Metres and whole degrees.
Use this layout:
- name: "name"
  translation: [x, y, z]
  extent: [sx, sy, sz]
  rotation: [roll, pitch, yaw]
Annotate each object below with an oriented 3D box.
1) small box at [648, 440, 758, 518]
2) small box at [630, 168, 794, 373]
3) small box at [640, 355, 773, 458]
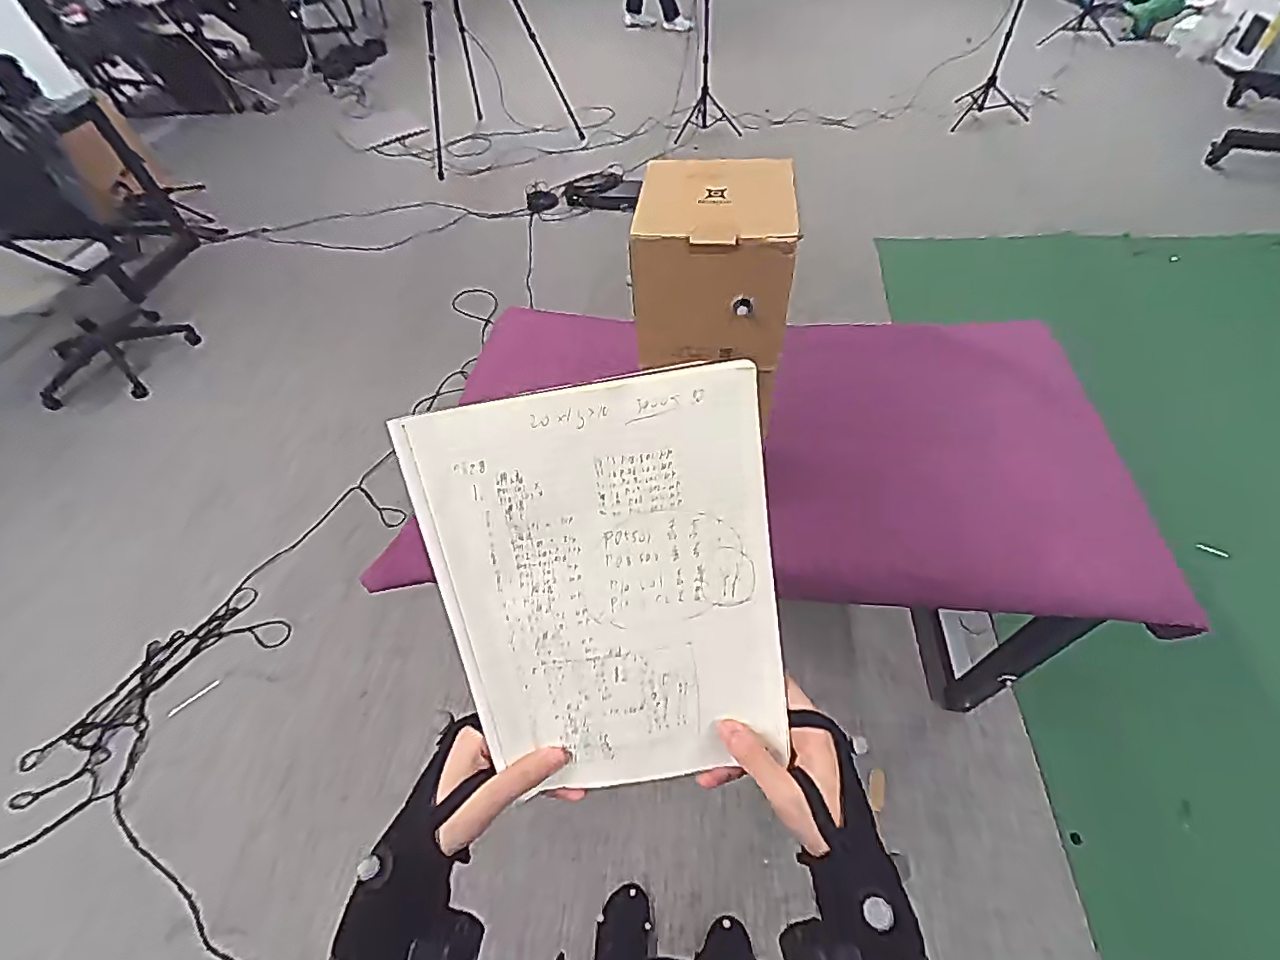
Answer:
- name: "small box"
  translation: [0.109, -0.052, 0.906]
  extent: [0.168, 0.176, 0.179]
  rotation: [3, 53, 7]
- name: "small box"
  translation: [0.087, -0.245, 0.642]
  extent: [0.168, 0.176, 0.179]
  rotation: [4, 52, 7]
- name: "small box"
  translation: [0.097, -0.148, 0.773]
  extent: [0.168, 0.176, 0.179]
  rotation: [3, 51, 7]
